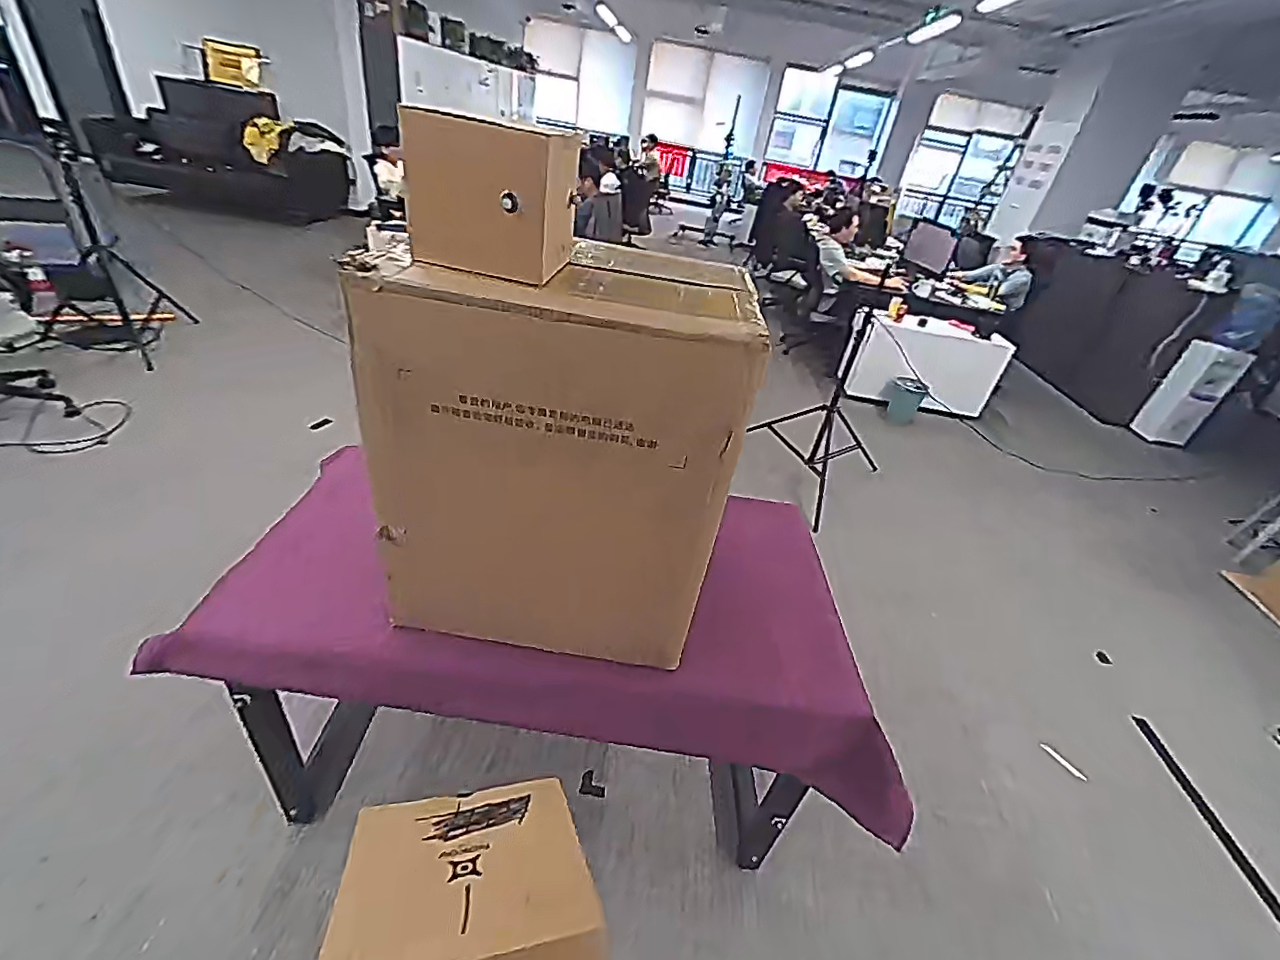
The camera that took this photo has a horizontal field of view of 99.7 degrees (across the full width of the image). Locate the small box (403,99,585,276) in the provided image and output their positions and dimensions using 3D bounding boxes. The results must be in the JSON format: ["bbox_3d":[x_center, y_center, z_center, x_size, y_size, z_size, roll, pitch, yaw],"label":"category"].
[{"bbox_3d":[-0.179,-0.375,0.701,0.179,0.176,0.168,11,33,1],"label":"small box"}]

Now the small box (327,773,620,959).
[{"bbox_3d":[-0.117,0.345,0.387,0.168,0.176,0.179,1,-1,-18],"label":"small box"}]
